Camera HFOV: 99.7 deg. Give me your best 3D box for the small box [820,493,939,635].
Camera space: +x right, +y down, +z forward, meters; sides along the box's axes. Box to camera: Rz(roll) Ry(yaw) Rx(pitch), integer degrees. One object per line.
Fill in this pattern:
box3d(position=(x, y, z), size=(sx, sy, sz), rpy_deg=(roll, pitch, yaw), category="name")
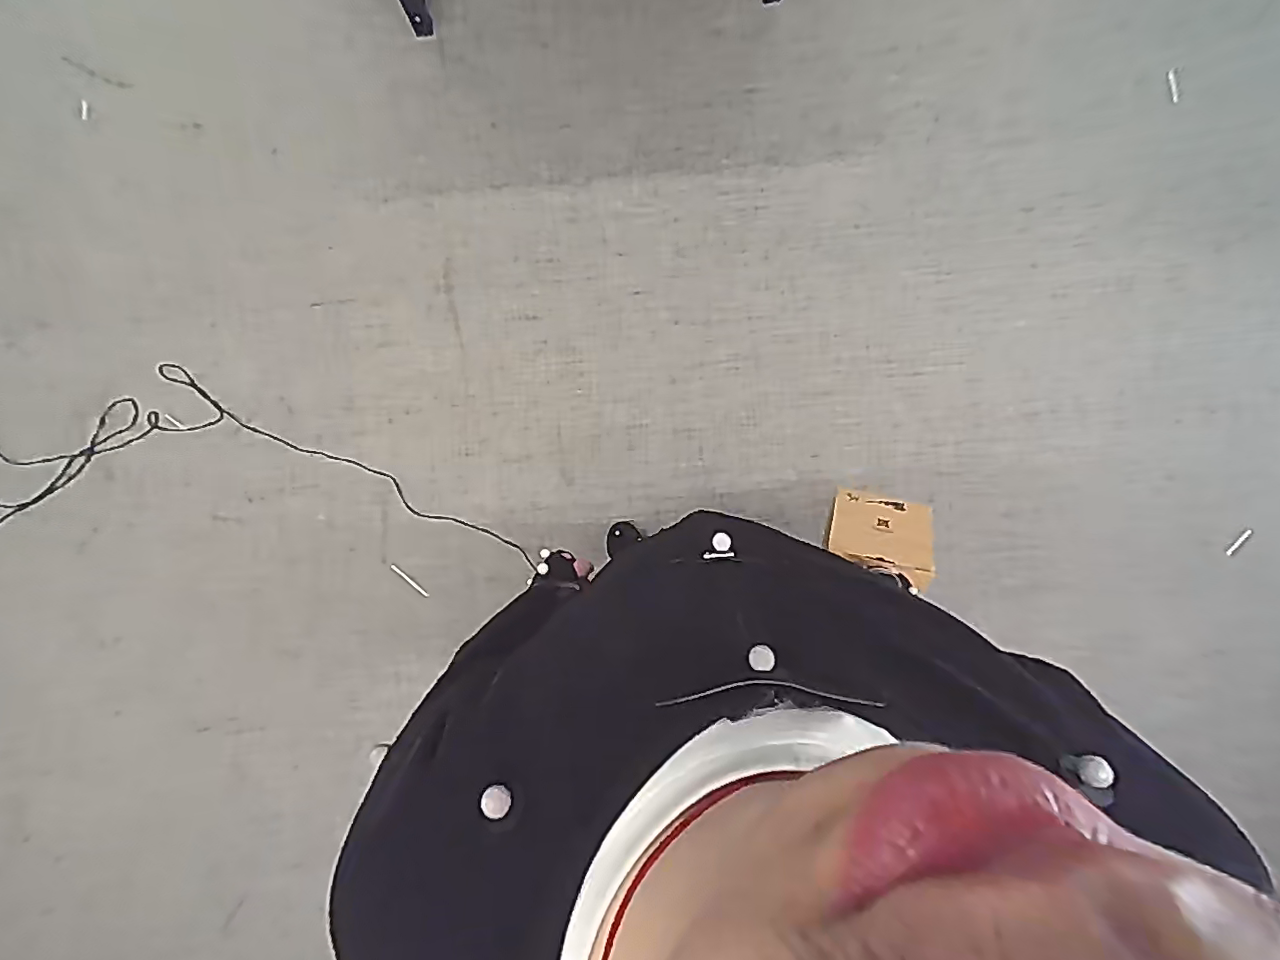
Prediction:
box3d(position=(0.425, 0.151, 0.975), size=(0.168, 0.179, 0.176), rpy_deg=(9, 129, 17), category="small box")
